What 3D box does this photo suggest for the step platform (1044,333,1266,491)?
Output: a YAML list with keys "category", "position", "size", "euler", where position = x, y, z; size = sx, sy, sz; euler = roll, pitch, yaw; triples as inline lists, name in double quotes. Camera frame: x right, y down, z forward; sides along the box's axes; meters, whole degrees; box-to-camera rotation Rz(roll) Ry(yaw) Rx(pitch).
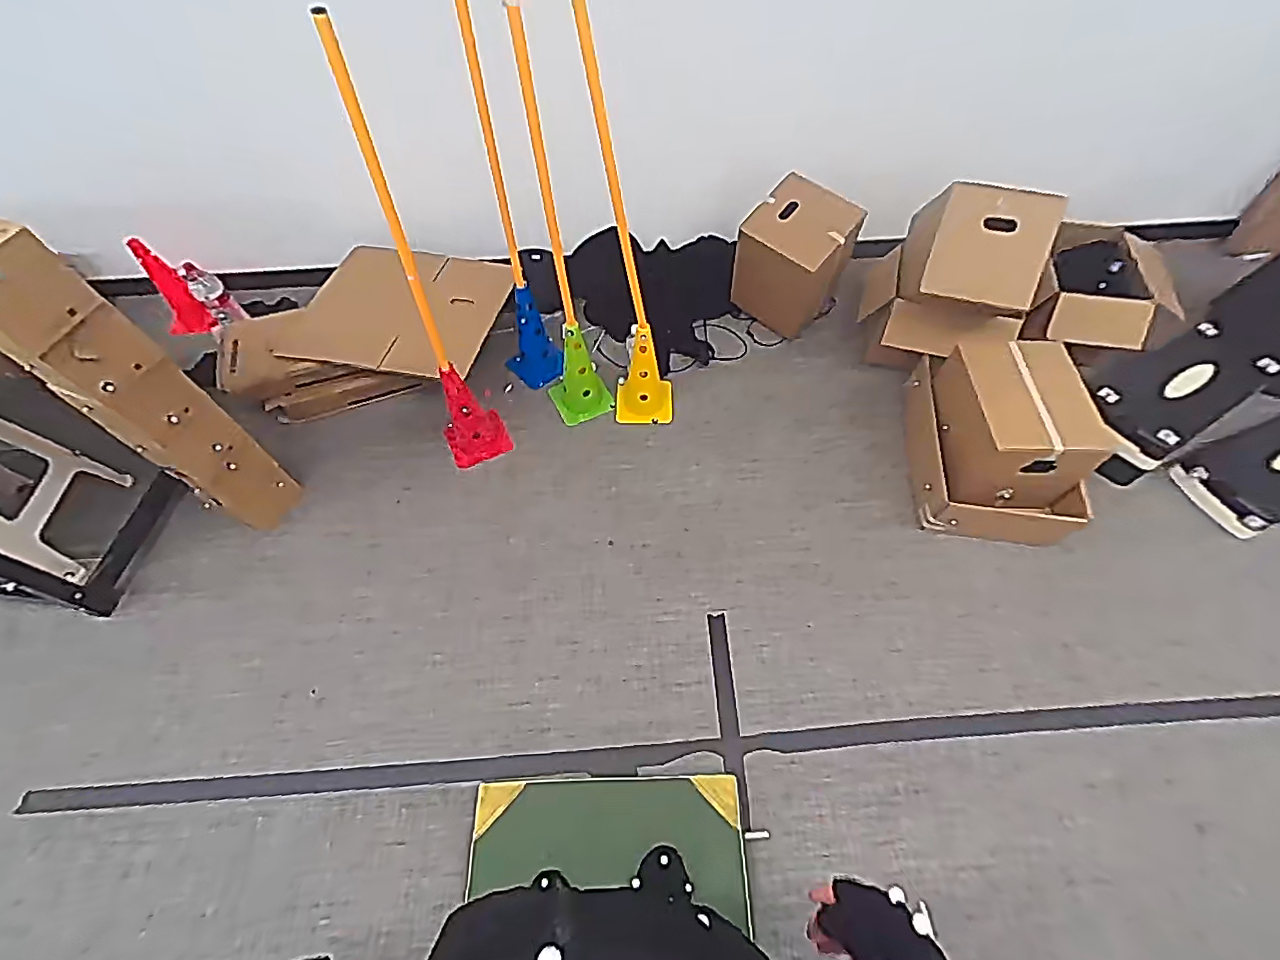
- category: "step platform"
  position: [1.745, -0.244, 1.834]
  size: [0.684, 0.204, 0.286]
  euler: [-28, 62, -15]
